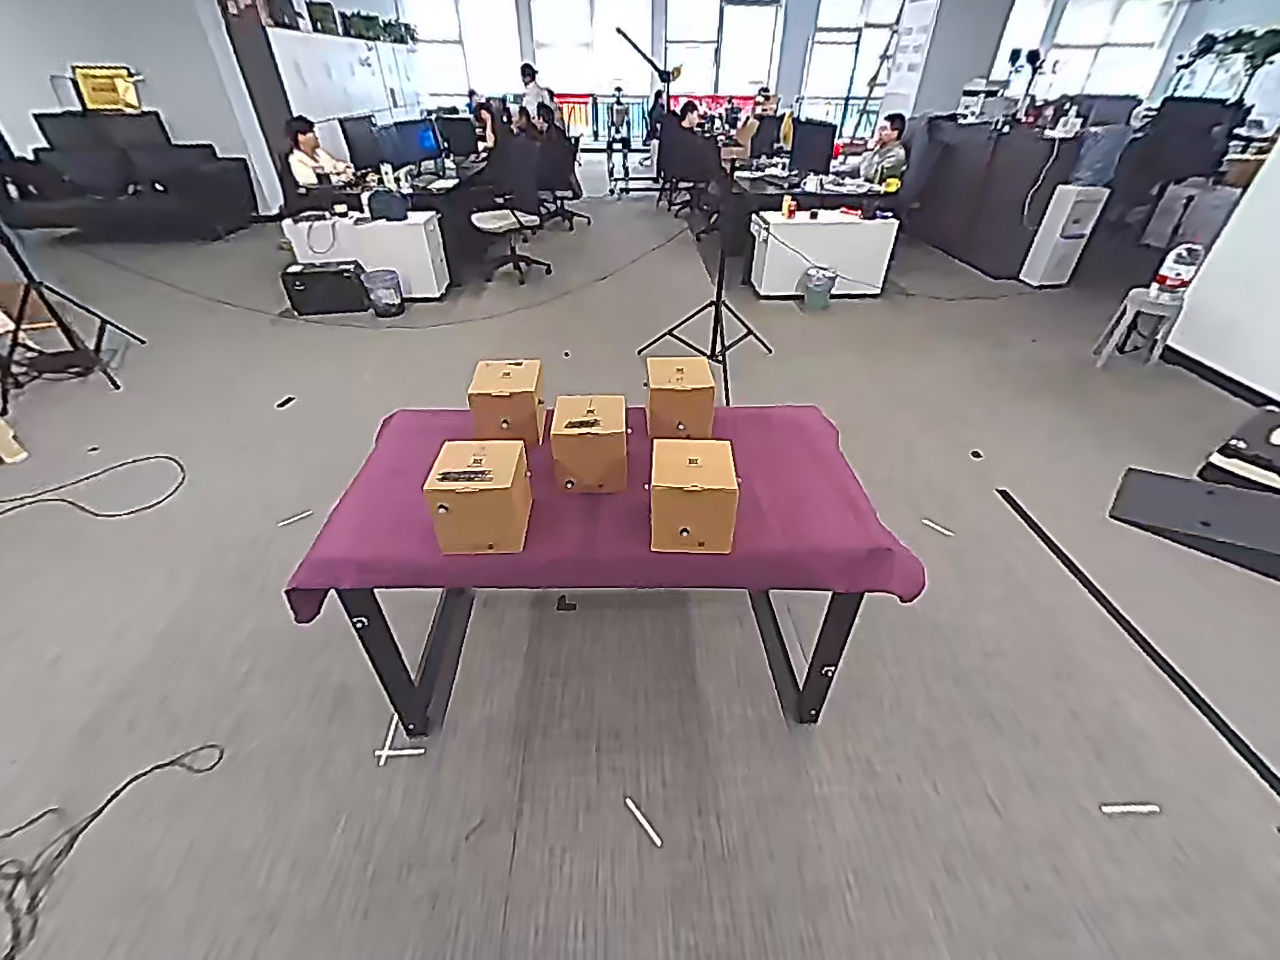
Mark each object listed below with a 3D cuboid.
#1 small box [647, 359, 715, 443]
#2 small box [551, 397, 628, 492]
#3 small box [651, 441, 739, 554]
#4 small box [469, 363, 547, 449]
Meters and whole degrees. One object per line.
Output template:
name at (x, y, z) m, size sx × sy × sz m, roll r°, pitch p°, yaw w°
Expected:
small box at (0.104, -0.214, 1.464) m, size 0.168 × 0.176 × 0.179 m, roll -2°, pitch 38°, yaw -1°
small box at (-0.114, -0.082, 1.293) m, size 0.168 × 0.176 × 0.179 m, roll -1°, pitch 36°, yaw -2°
small box at (0.109, 0.034, 1.138) m, size 0.168 × 0.176 × 0.179 m, roll 1°, pitch 36°, yaw 2°
small box at (-0.343, -0.194, 1.438) m, size 0.168 × 0.176 × 0.179 m, roll -1°, pitch 39°, yaw -3°
